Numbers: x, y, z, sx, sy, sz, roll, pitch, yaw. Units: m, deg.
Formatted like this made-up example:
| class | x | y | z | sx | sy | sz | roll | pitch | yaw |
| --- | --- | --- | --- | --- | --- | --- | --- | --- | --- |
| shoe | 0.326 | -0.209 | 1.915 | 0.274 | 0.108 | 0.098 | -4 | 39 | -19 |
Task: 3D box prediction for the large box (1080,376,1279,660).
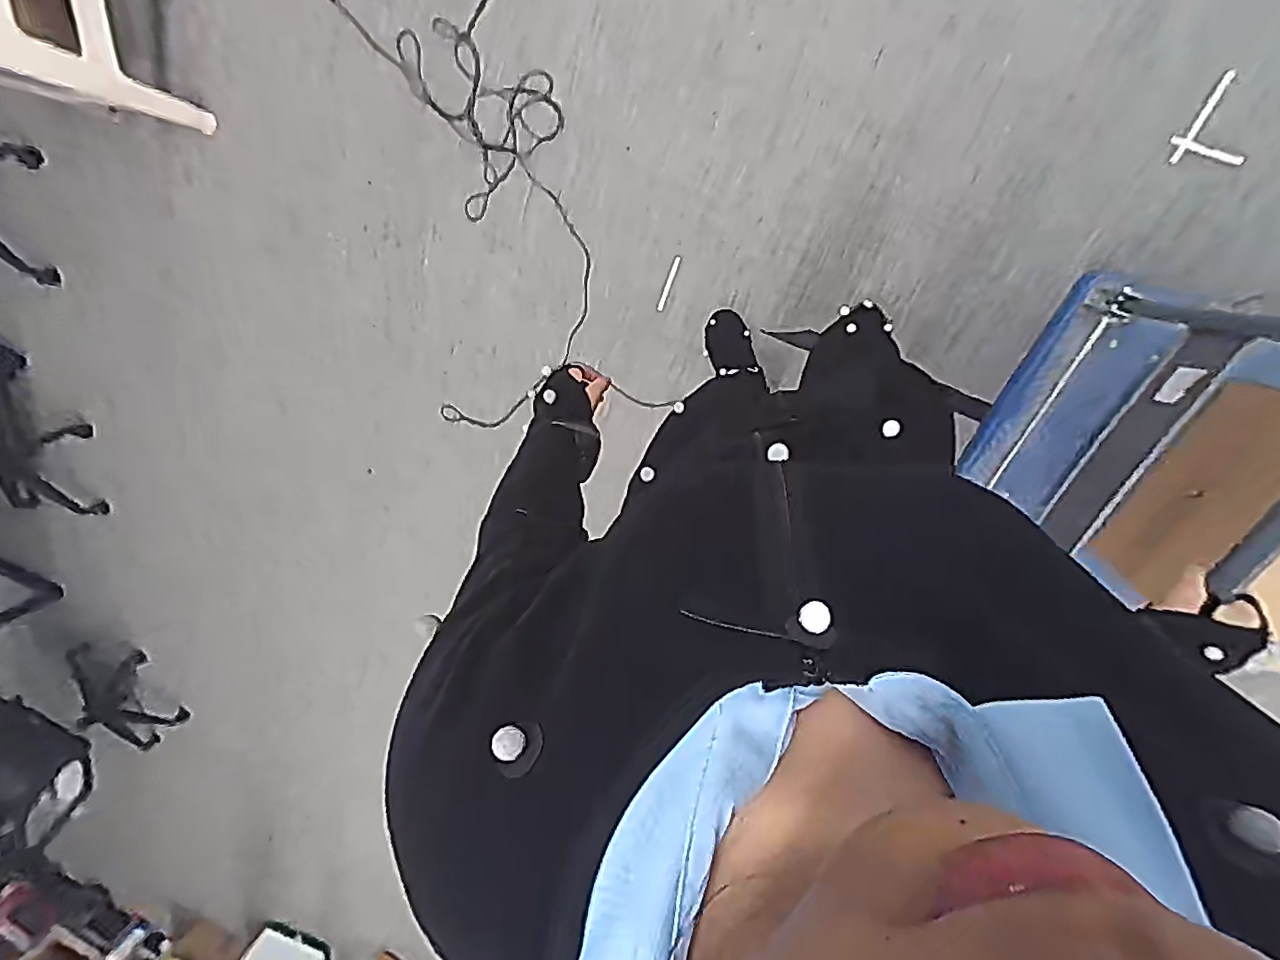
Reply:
| class | x | y | z | sx | sy | sz | roll | pitch | yaw |
| --- | --- | --- | --- | --- | --- | --- | --- | --- | --- |
| large box | 1.146 | 0.070 | 0.989 | 0.320 | 0.320 | 0.408 | 22 | 114 | 5 |
